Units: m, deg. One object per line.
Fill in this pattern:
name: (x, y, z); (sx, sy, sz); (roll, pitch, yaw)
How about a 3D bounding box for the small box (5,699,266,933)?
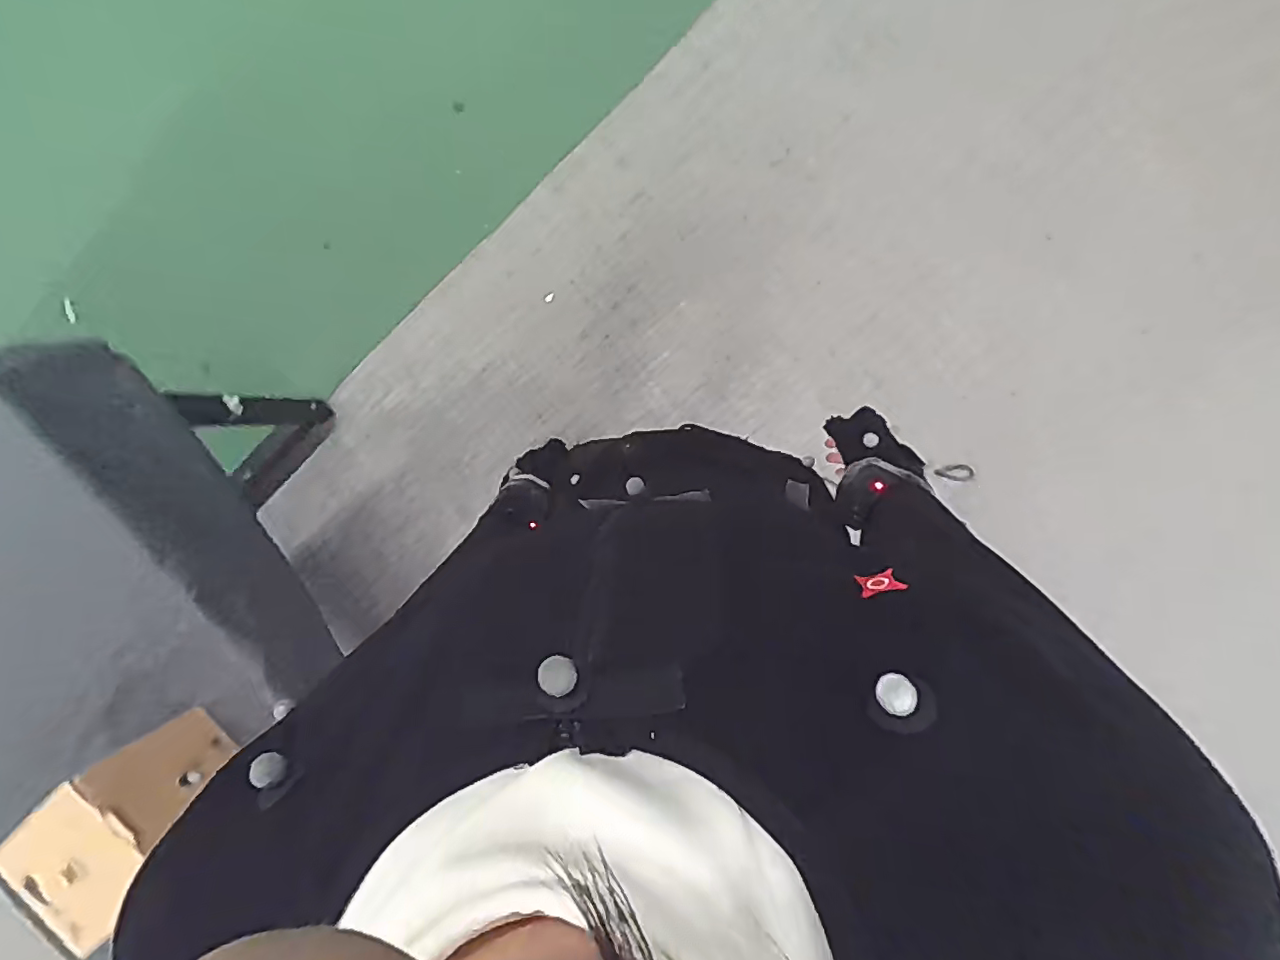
small box: (-0.661, 0.438, 0.736); (0.179, 0.176, 0.168); (-42, 91, 9)
